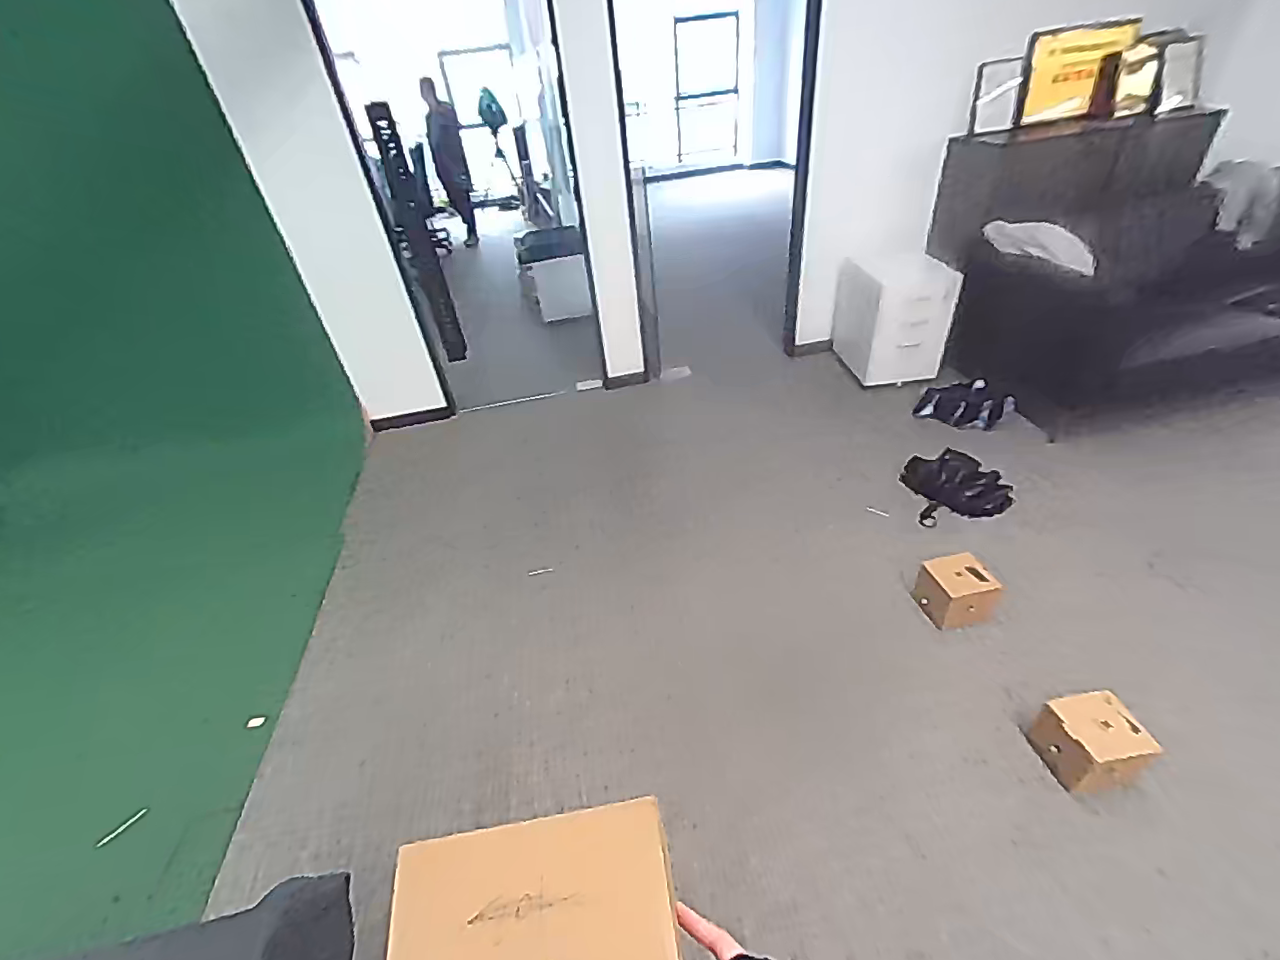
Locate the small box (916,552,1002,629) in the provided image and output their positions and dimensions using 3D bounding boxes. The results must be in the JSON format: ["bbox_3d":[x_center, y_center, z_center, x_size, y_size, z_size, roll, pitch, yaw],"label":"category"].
[{"bbox_3d":[1.060,0.373,1.815,0.179,0.176,0.168,-12,37,-4],"label":"small box"}]

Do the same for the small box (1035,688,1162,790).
[{"bbox_3d":[1.169,0.674,1.401,0.179,0.176,0.168,-11,37,-2],"label":"small box"}]
